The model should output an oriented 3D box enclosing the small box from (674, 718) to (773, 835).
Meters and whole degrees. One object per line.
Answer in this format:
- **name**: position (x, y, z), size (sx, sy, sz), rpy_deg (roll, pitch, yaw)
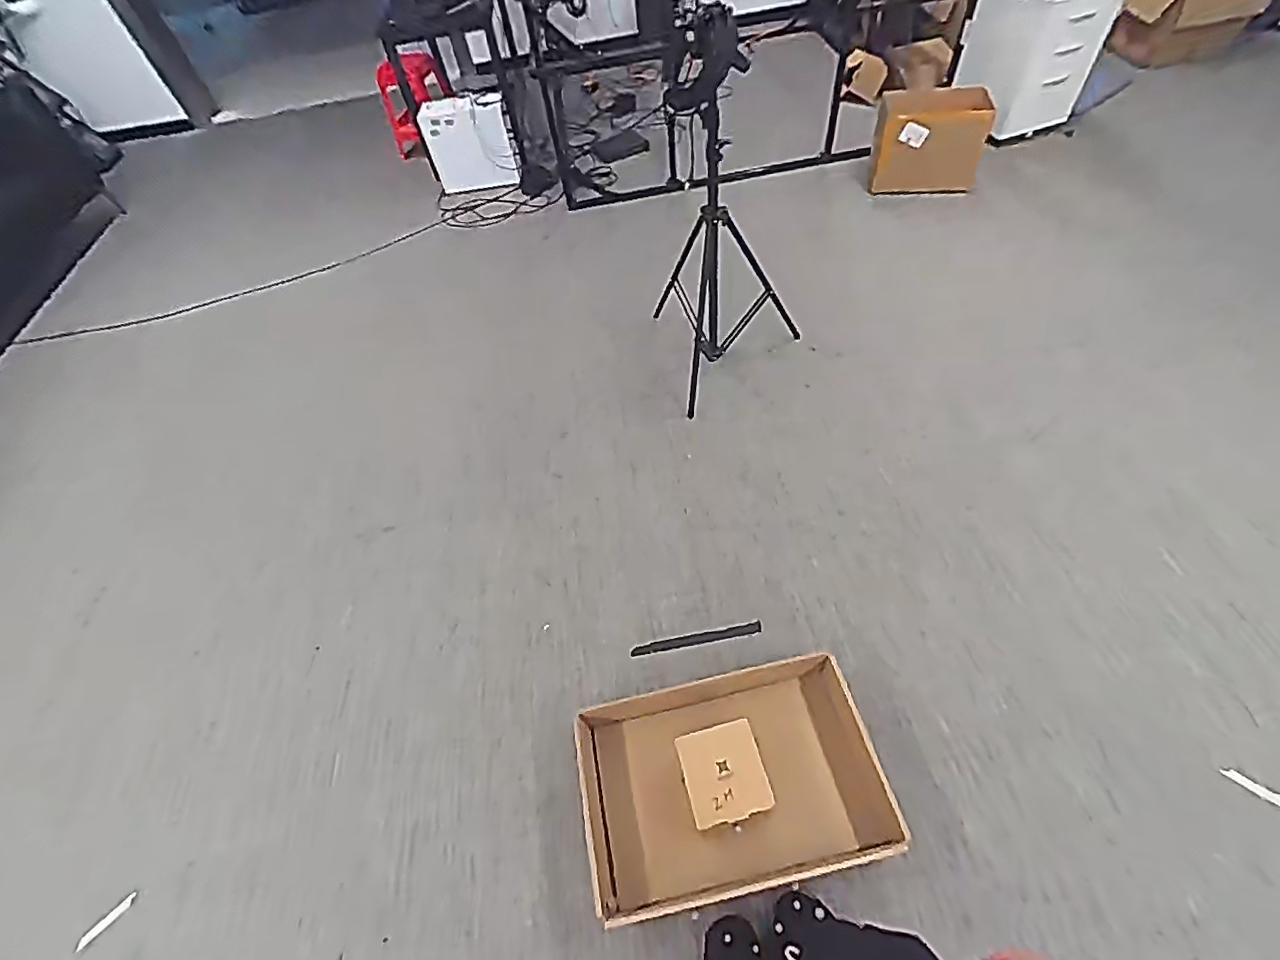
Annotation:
- **small box**: position (0.175, 0.647, 1.176), size (0.168, 0.176, 0.179), rpy_deg (-15, 53, -3)
